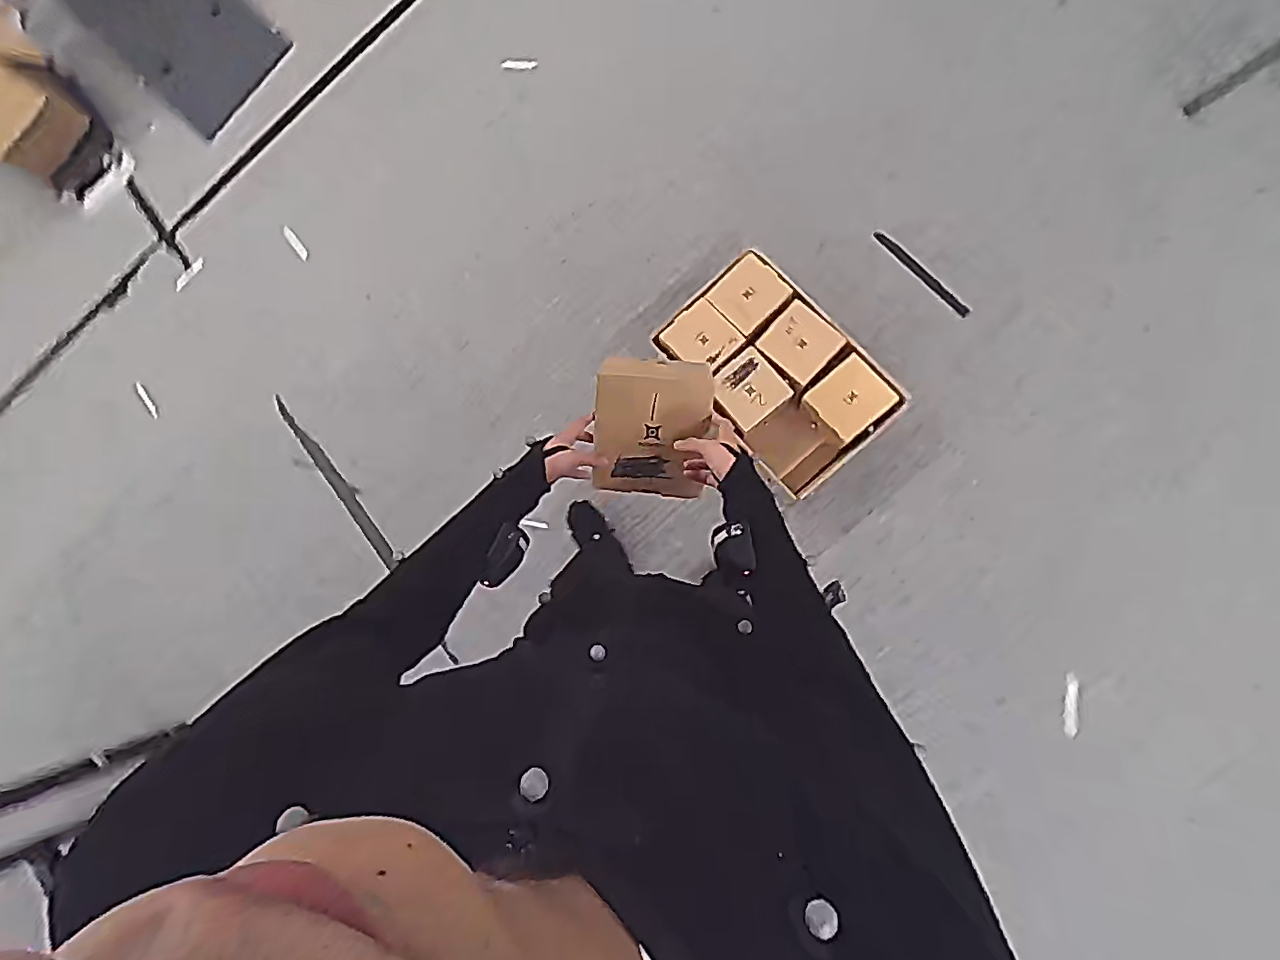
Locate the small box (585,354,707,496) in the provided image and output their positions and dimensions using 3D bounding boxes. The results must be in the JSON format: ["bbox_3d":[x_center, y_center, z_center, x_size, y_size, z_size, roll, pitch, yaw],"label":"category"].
[{"bbox_3d":[0.010,-0.092,0.843,0.168,0.176,0.179,4,111,1],"label":"small box"}]
